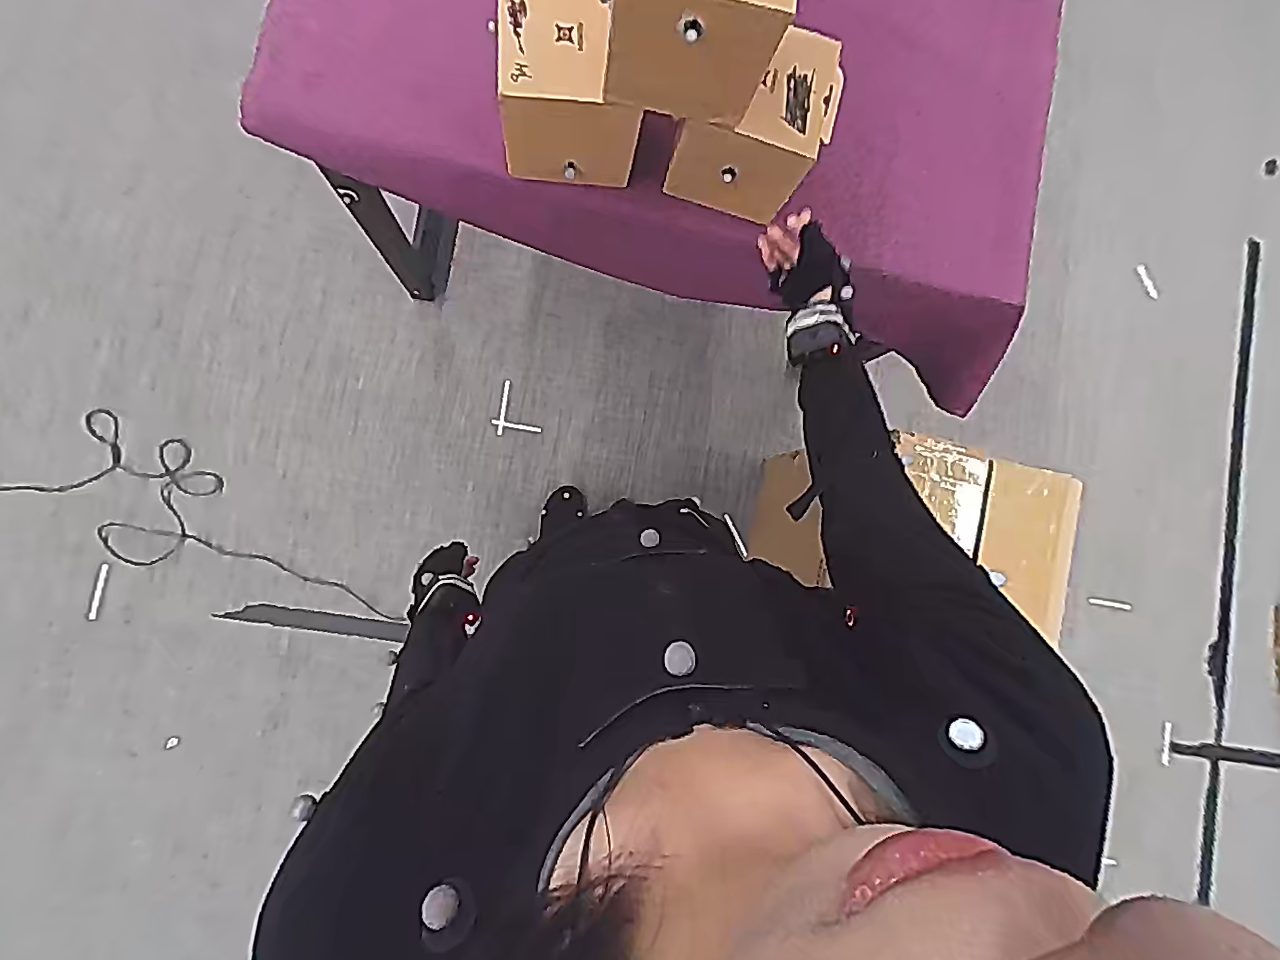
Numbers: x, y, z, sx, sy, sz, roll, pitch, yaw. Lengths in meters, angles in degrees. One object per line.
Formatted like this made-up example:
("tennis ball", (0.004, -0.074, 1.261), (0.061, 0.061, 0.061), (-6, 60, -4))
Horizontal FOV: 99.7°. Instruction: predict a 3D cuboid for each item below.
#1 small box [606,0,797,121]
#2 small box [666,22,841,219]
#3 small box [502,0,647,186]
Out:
("small box", (0.060, -0.533, 0.588), (0.179, 0.176, 0.168), (6, 87, -9))
("small box", (0.149, -0.502, 0.764), (0.179, 0.176, 0.168), (14, 85, -6))
("small box", (-0.092, -0.527, 0.730), (0.179, 0.176, 0.168), (0, 86, -10))
